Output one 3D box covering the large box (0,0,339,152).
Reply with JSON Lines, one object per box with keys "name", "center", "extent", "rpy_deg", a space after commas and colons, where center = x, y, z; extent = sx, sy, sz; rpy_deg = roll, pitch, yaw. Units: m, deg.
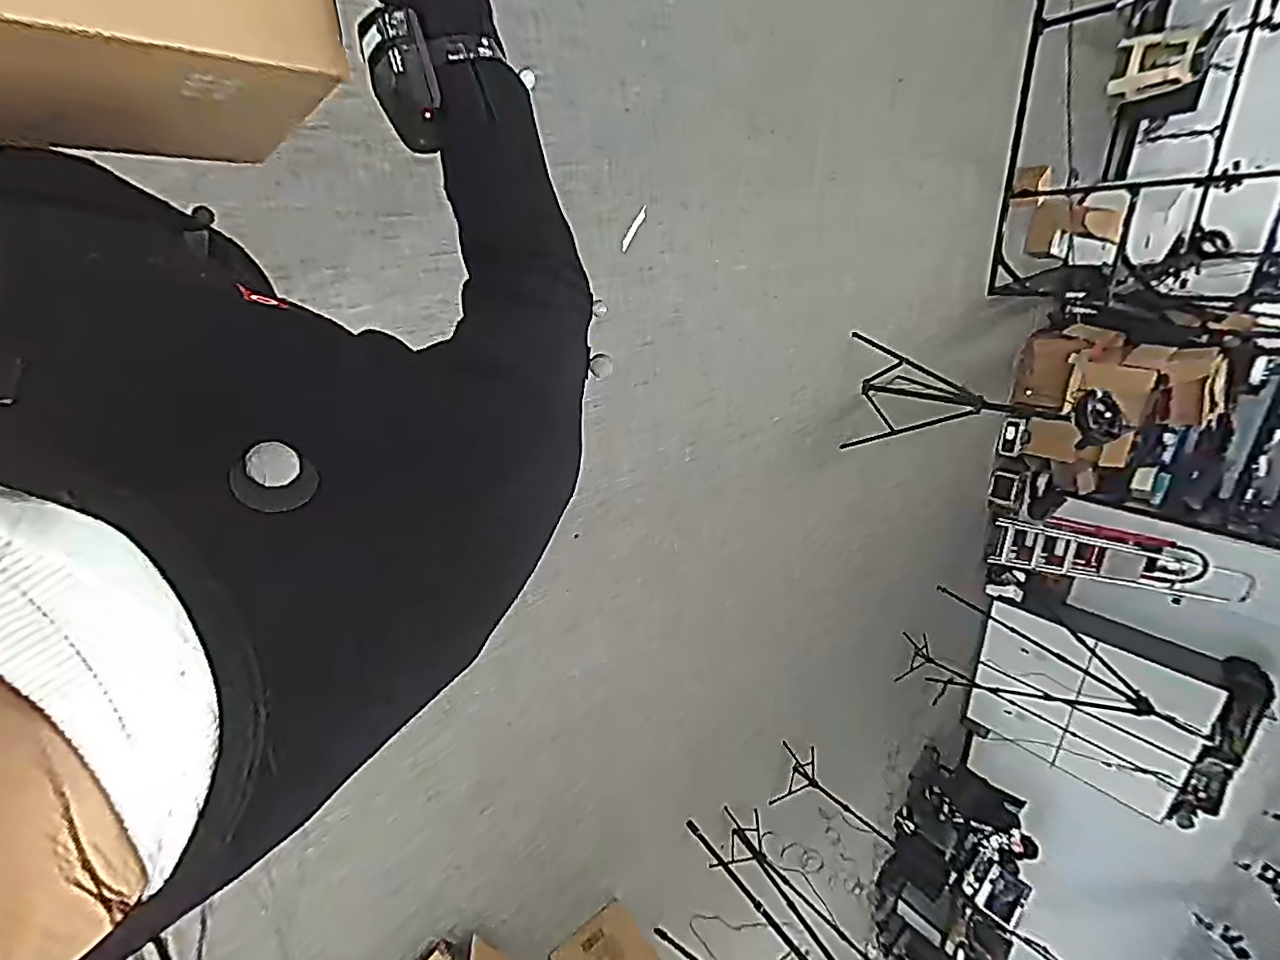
{"name": "large box", "center": [-0.458, -0.395, 0.290], "extent": [0.408, 0.320, 0.320], "rpy_deg": [-22, 118, -40]}
